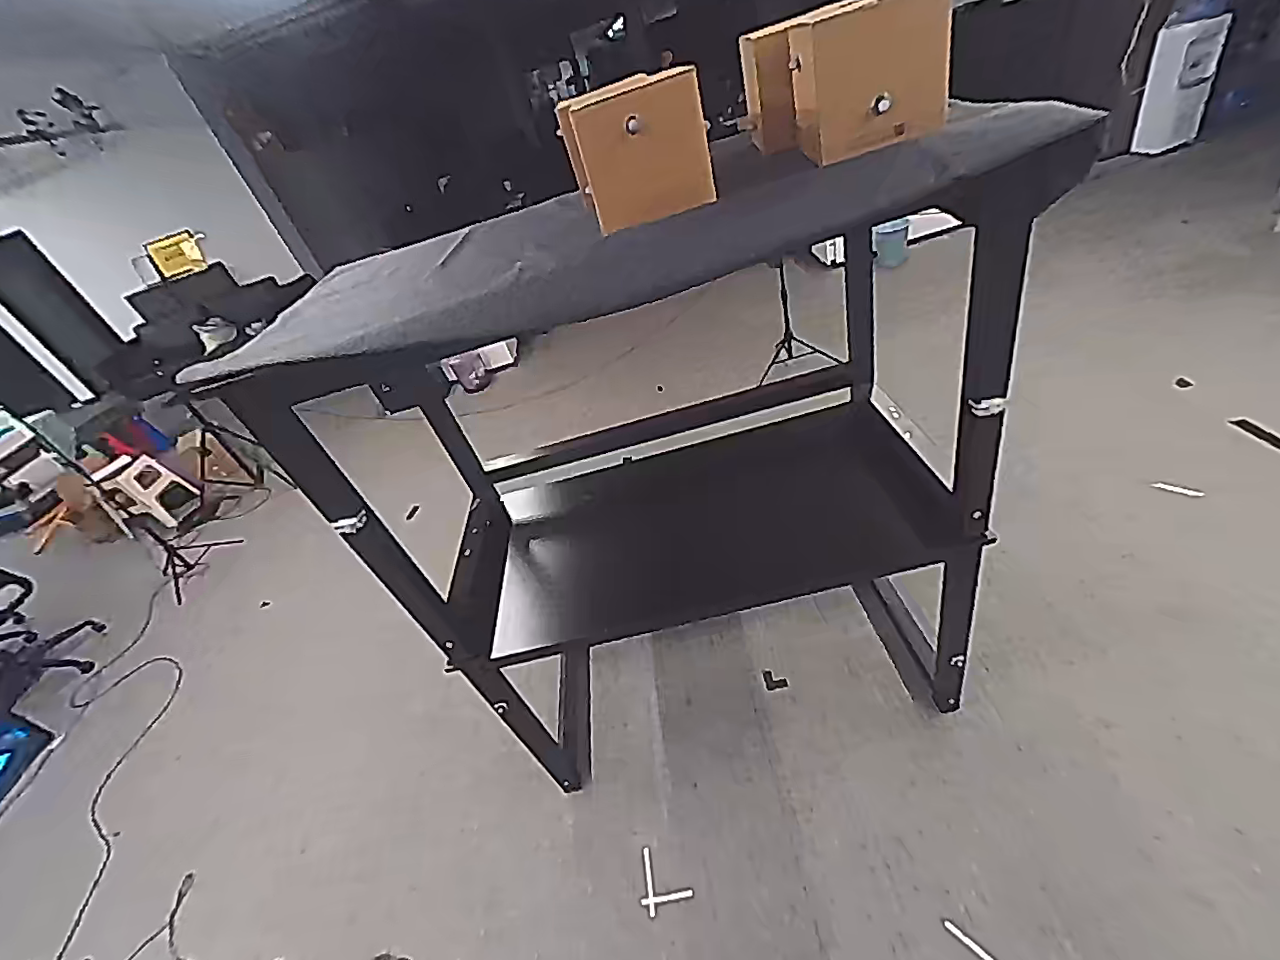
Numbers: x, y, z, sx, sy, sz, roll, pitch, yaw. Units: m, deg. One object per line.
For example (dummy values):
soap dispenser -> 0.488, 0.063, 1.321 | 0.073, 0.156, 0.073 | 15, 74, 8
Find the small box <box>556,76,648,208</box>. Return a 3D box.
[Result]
small box -> -0.047, -0.632, 1.017 | 0.168, 0.176, 0.179 | -16, 37, 7

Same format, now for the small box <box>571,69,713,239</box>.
small box -> 0.007, -0.490, 0.816 | 0.179, 0.176, 0.168 | -16, 37, 6

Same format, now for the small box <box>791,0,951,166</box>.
small box -> 0.318, -0.570, 0.771 | 0.168, 0.176, 0.179 | -11, 37, 12
